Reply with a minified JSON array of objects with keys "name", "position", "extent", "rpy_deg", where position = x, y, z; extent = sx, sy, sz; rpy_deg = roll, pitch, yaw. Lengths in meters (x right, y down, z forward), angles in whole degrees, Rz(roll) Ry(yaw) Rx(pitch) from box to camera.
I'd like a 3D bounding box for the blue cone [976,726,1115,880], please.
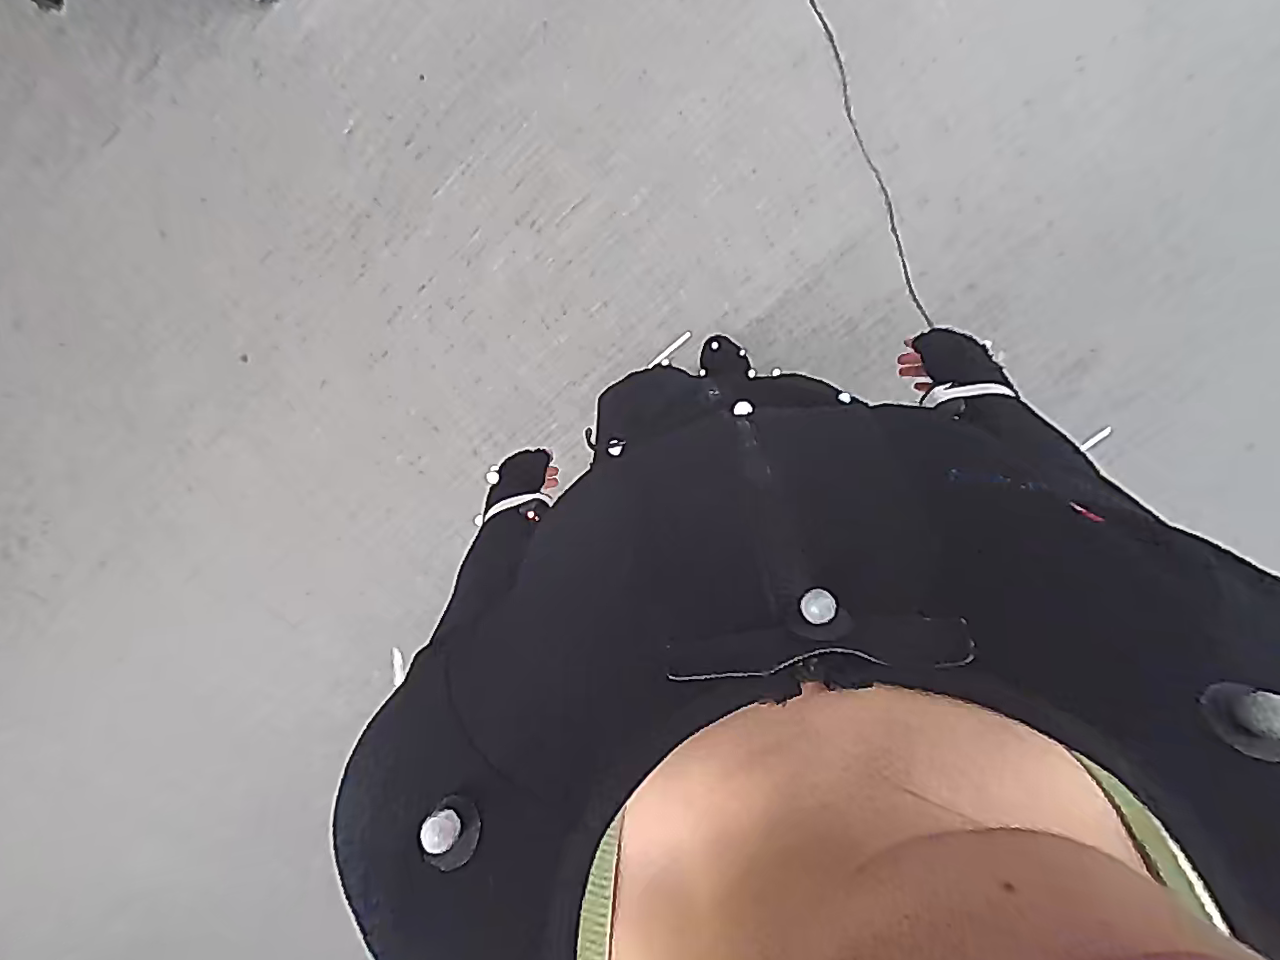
[{"name":"blue cone","position":[1.097,0.865,1.436],"extent":[0.192,0.380,0.193],"rpy_deg":[33,105,-3]}]
